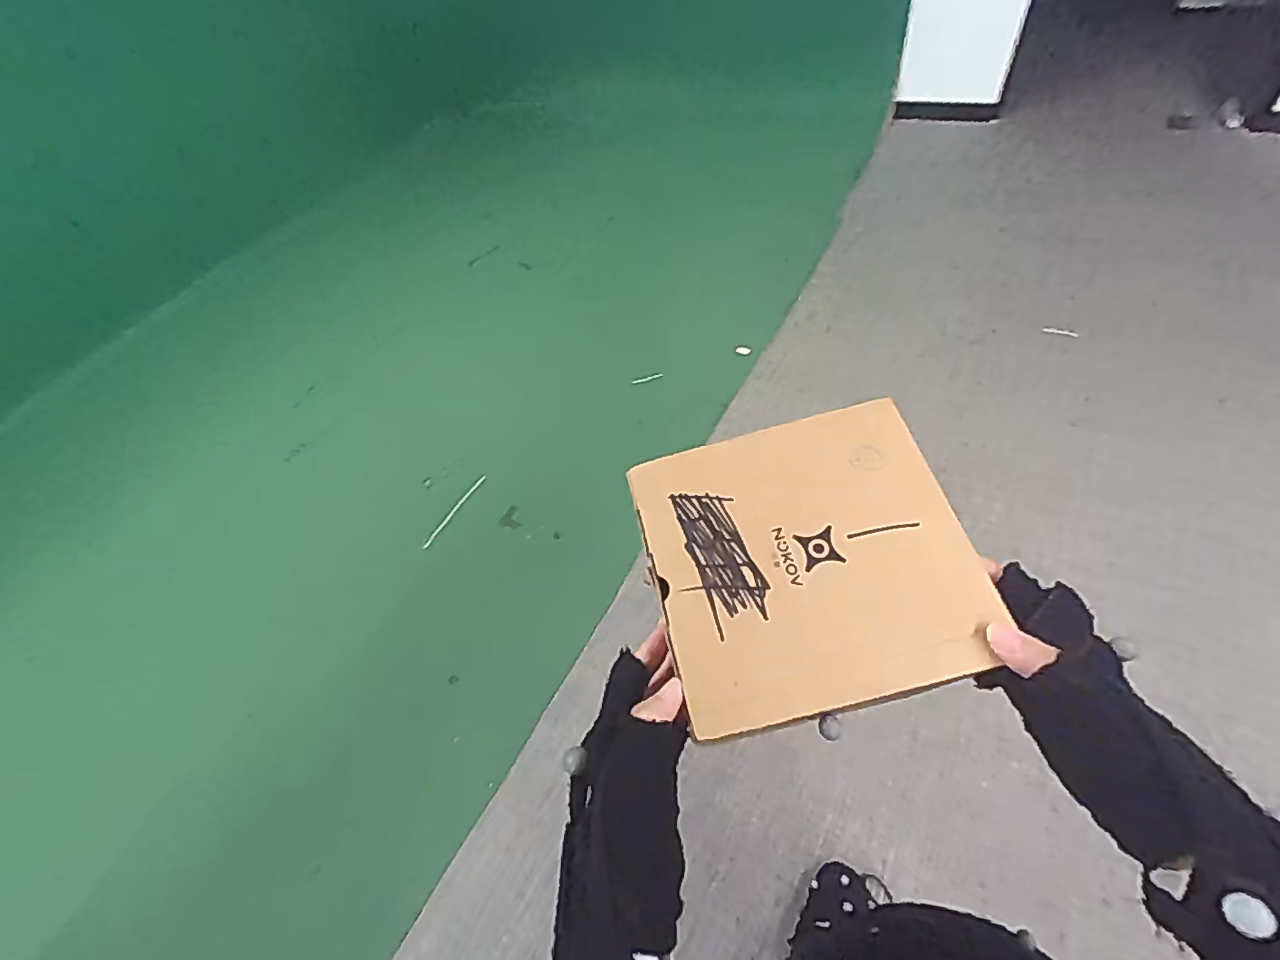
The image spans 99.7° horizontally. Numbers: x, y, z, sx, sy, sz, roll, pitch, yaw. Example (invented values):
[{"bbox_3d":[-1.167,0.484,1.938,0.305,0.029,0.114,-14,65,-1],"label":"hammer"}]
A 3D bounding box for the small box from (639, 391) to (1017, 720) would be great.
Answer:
[{"bbox_3d":[0.110,0.067,0.390,0.179,0.176,0.168,-14,63,2],"label":"small box"}]
